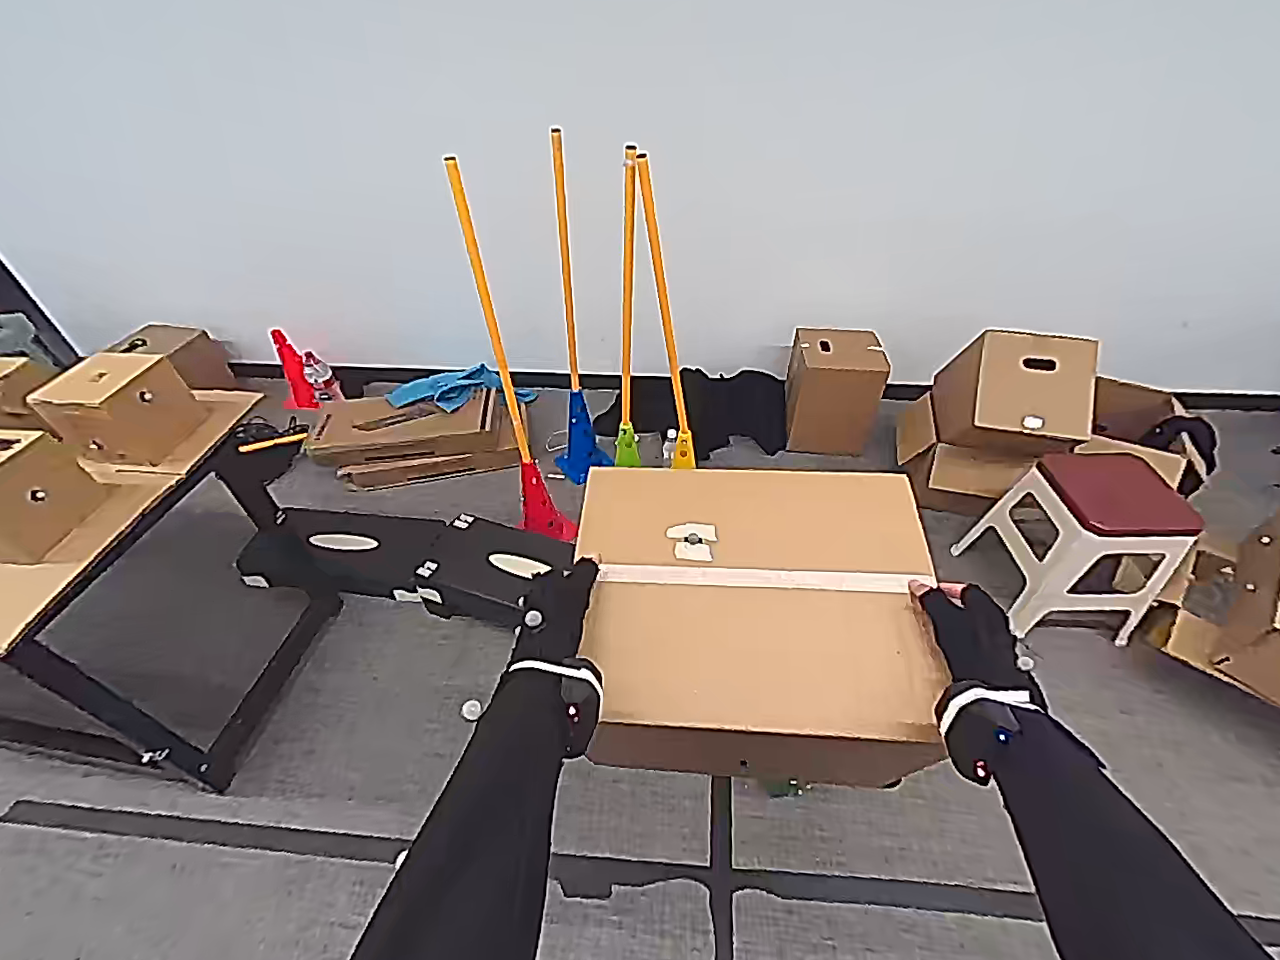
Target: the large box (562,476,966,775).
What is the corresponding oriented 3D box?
[{"bbox_3d":[0.138,0.206,0.740,0.408,0.320,0.320,1,54,6],"label":"large box"}]
